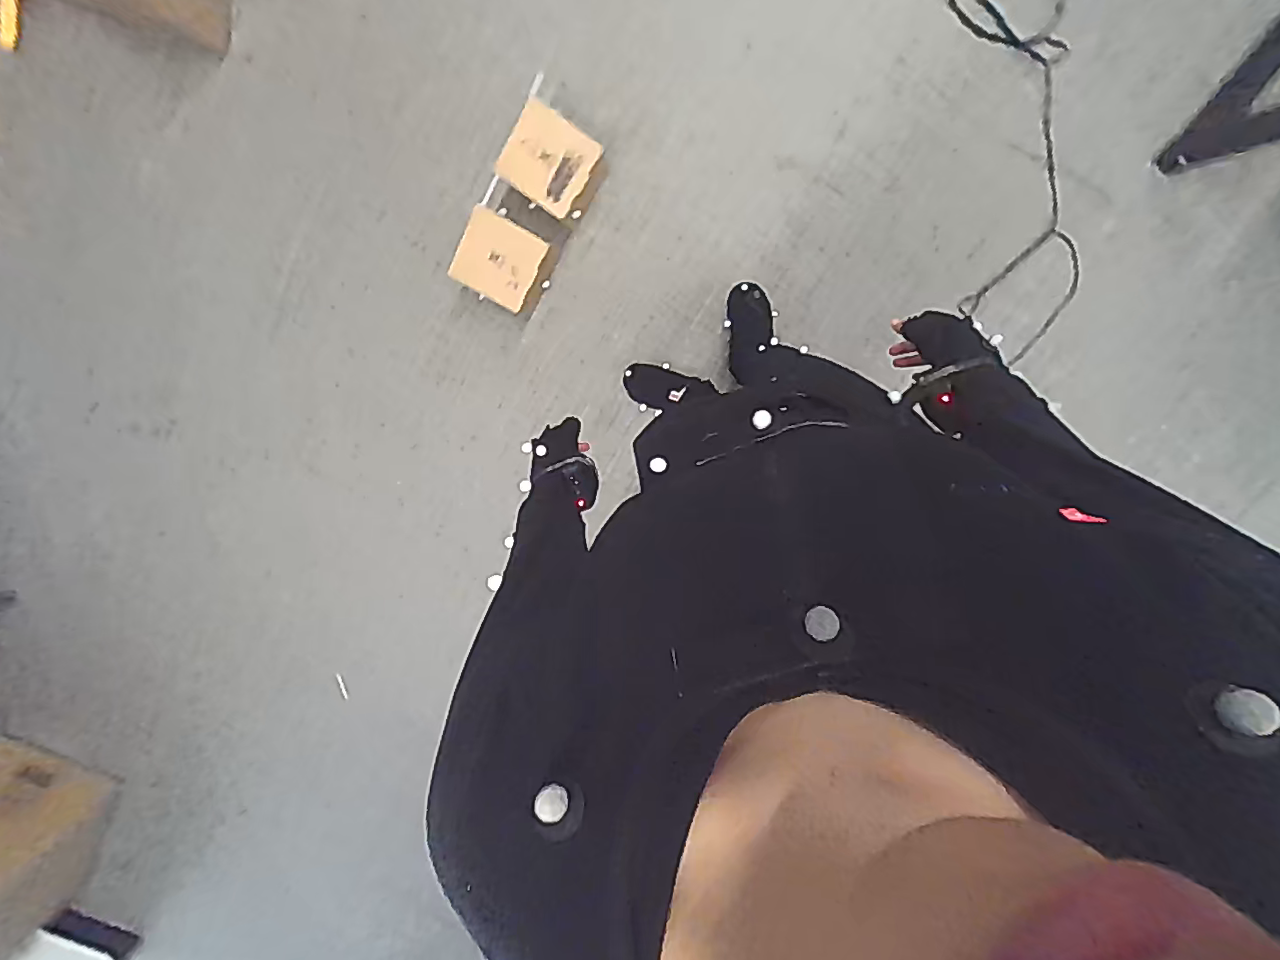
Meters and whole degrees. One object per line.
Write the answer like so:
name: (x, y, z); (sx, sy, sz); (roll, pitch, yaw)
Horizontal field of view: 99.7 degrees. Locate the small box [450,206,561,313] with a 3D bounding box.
small box: (-0.305, -0.502, 1.259); (0.179, 0.176, 0.168); (28, 107, -7)
